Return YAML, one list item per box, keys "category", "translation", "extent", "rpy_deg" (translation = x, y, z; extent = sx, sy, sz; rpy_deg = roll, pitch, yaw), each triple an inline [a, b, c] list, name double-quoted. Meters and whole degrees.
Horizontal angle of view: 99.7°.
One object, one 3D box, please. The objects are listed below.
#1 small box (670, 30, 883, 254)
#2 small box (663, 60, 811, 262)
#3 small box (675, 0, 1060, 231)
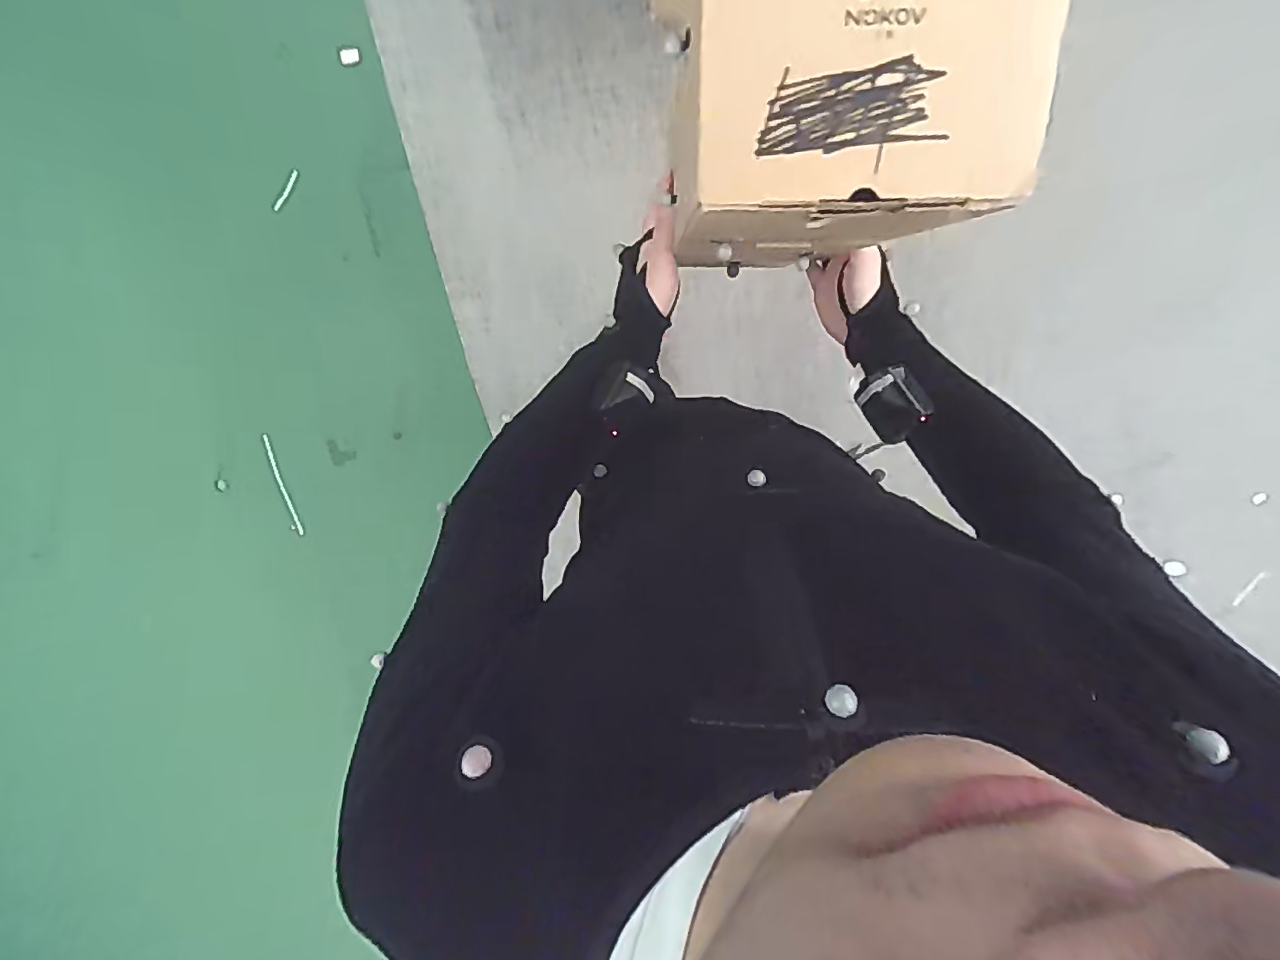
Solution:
- category: "small box"
  translation: [0.114, -0.299, 0.475]
  extent: [0.168, 0.176, 0.179]
  rpy_deg: [1, 107, 0]
- category: "small box"
  translation: [0.113, -0.352, 0.630]
  extent: [0.168, 0.176, 0.179]
  rpy_deg: [1, 108, 0]
- category: "small box"
  translation: [0.109, -0.250, 0.319]
  extent: [0.168, 0.176, 0.179]
  rpy_deg: [0, 107, 0]
